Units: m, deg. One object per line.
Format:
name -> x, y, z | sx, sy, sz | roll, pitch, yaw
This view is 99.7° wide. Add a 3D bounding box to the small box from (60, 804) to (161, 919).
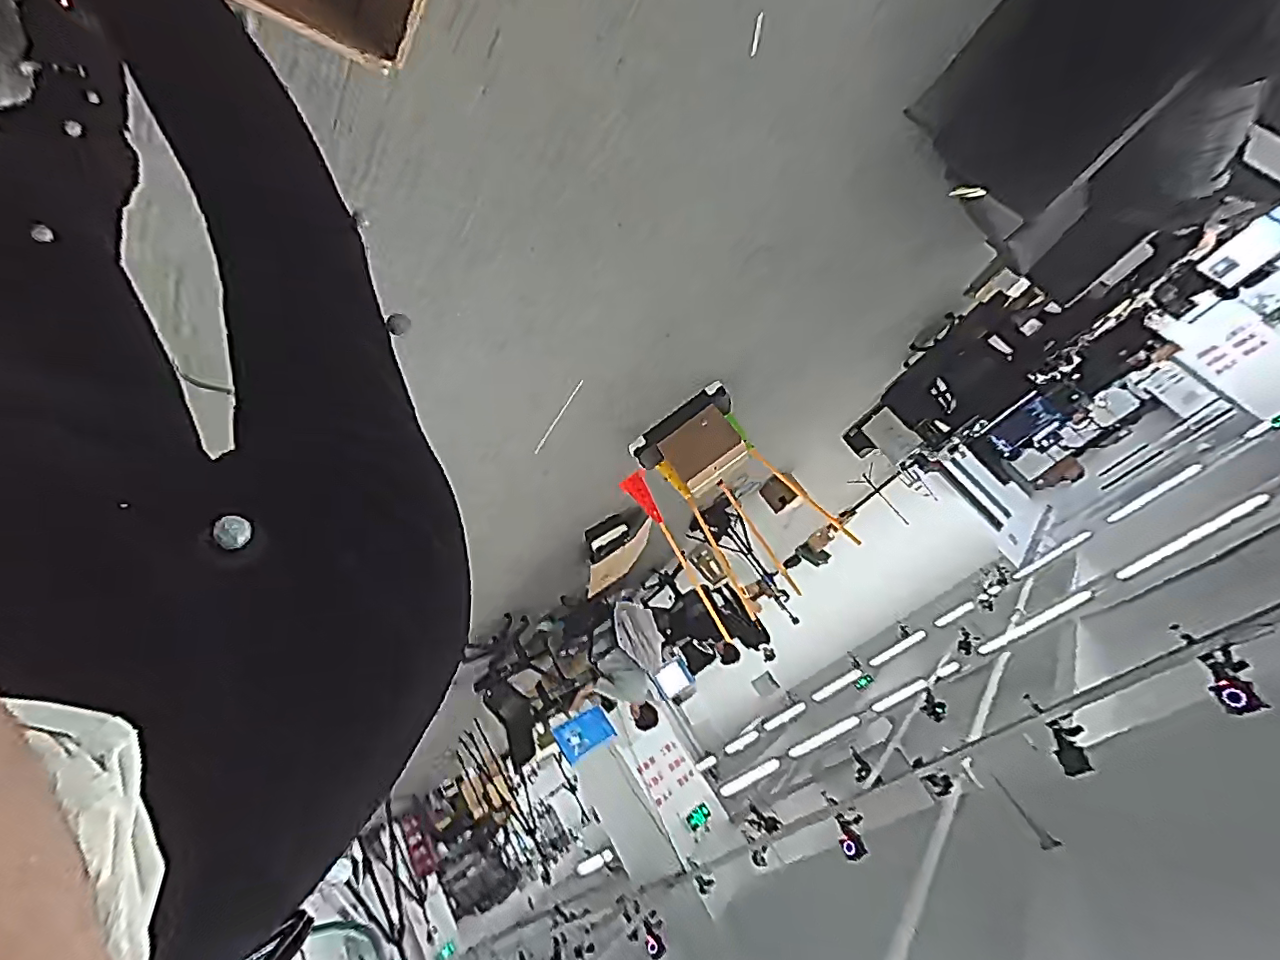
small box -> -1.408, 1.009, 1.440 | 0.179, 0.176, 0.168 | -11, 148, -46
